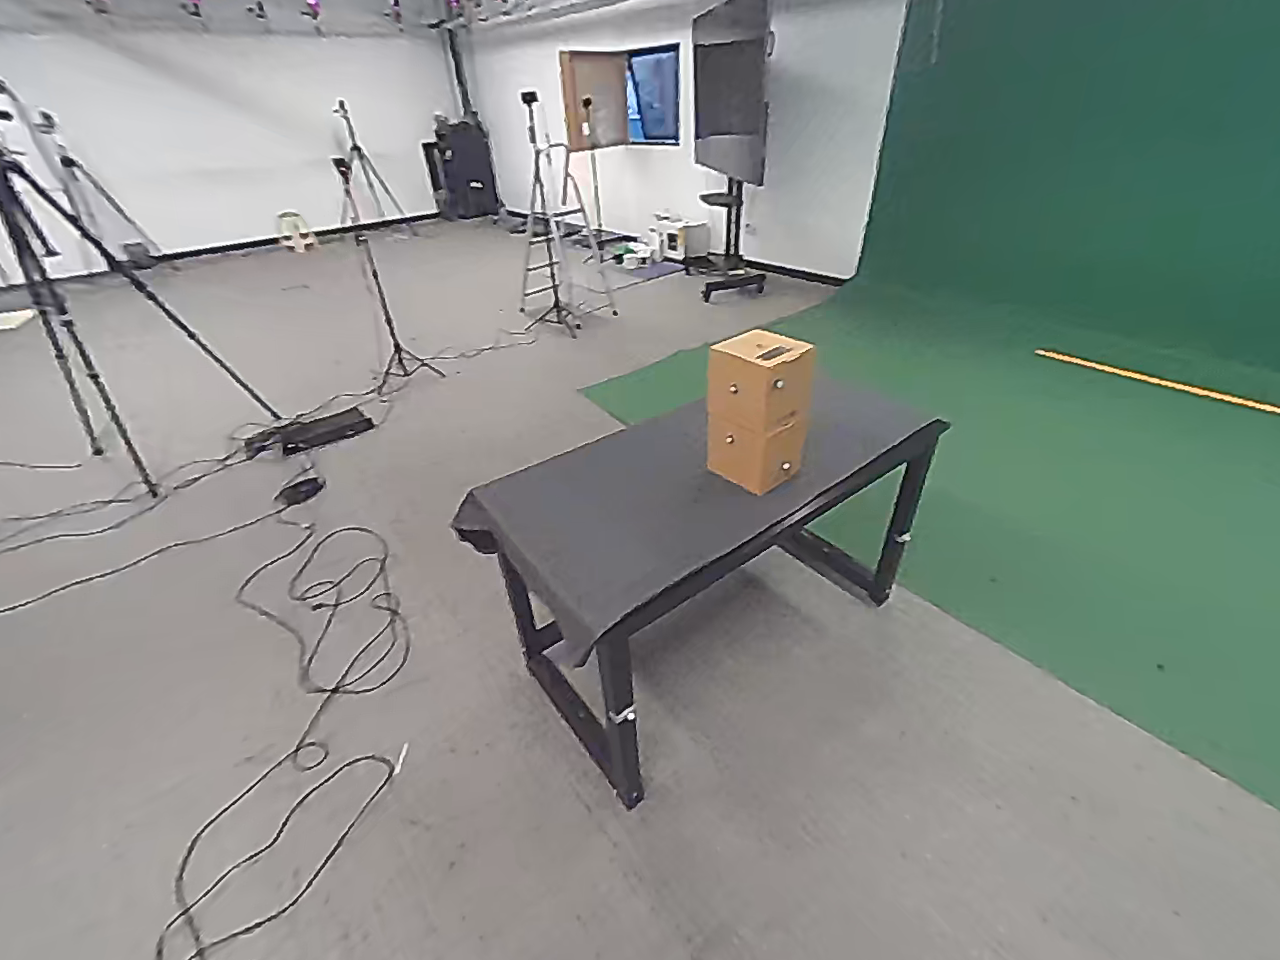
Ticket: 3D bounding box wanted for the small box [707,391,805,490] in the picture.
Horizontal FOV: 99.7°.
[{"bbox_3d":[0.282,-0.100,1.349,0.168,0.176,0.179,-29,42,-32],"label":"small box"}]
